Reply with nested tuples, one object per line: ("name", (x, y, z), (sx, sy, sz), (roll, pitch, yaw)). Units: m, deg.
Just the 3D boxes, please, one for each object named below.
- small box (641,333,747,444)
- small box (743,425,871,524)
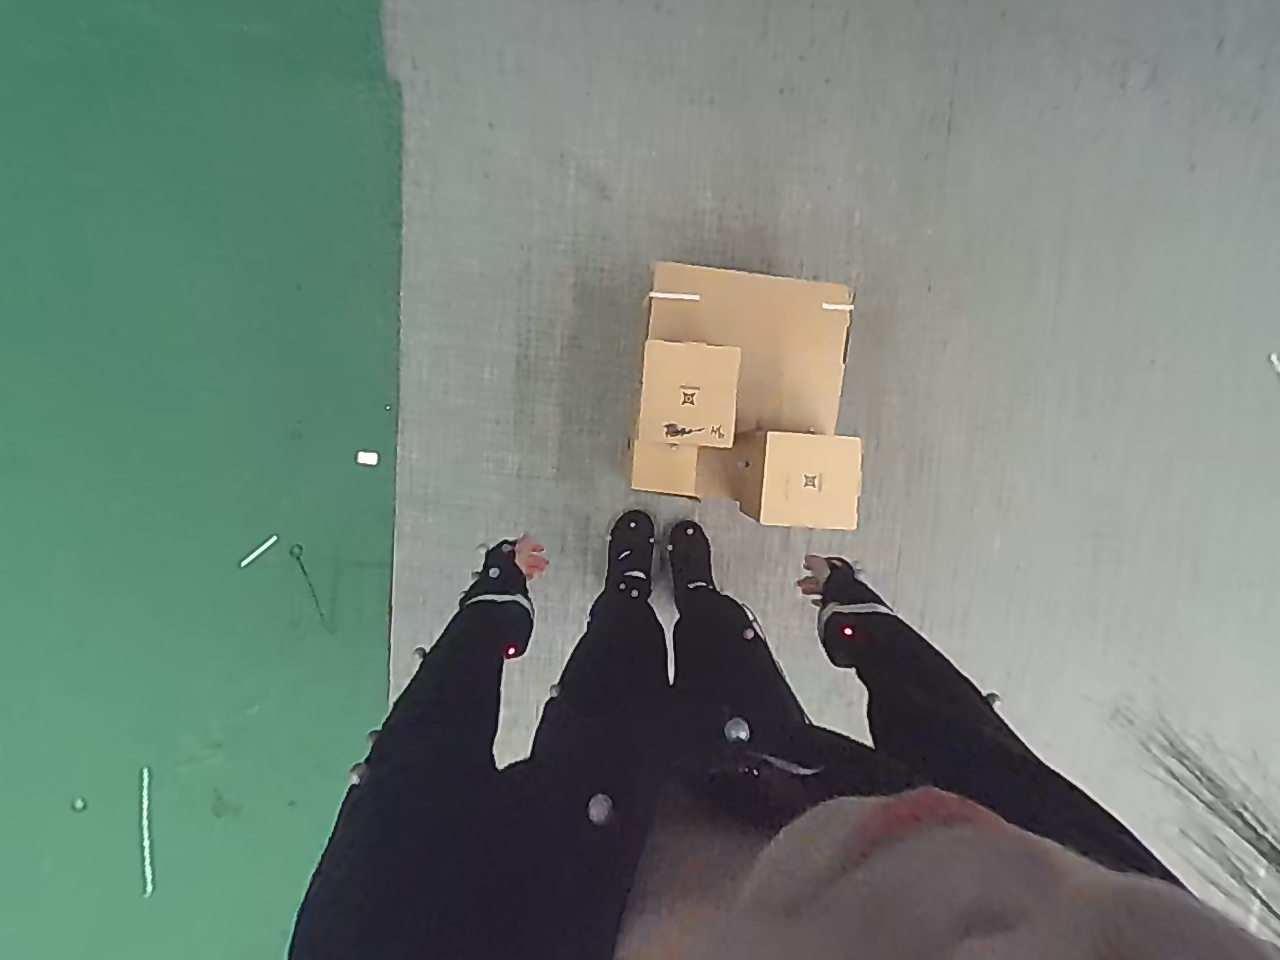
("small box", (0.091, -0.161, 0.998), (0.168, 0.176, 0.179), (4, 94, -1))
("small box", (0.304, -0.017, 1.016), (0.179, 0.176, 0.168), (4, 94, -2))
